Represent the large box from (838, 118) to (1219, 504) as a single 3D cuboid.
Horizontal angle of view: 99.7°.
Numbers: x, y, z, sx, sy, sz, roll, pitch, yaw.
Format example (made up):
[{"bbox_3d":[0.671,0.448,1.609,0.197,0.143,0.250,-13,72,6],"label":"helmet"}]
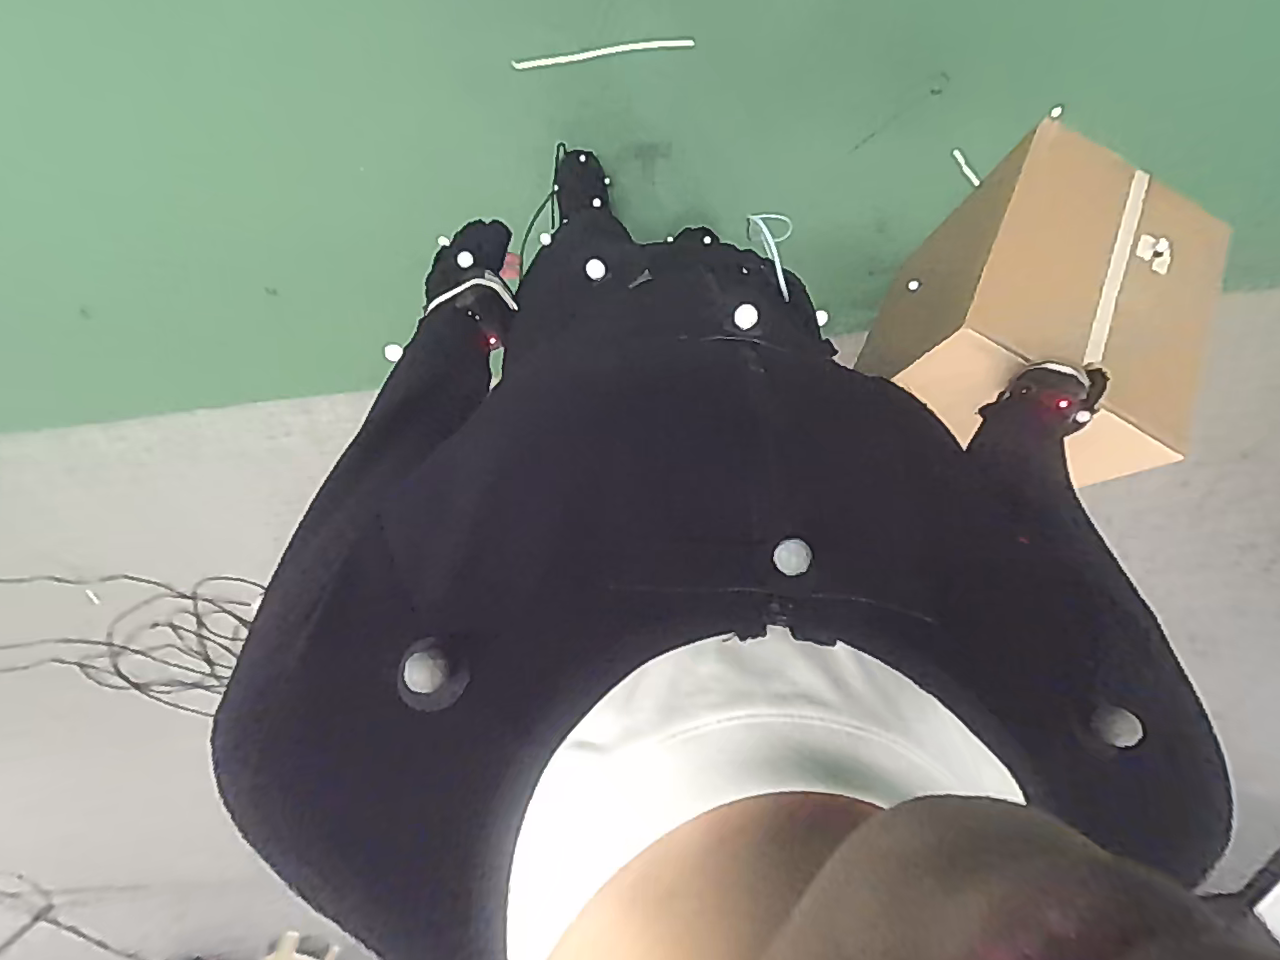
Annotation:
[{"bbox_3d":[0.571,-0.230,0.836,0.320,0.408,0.320,30,161,-2],"label":"large box"}]
